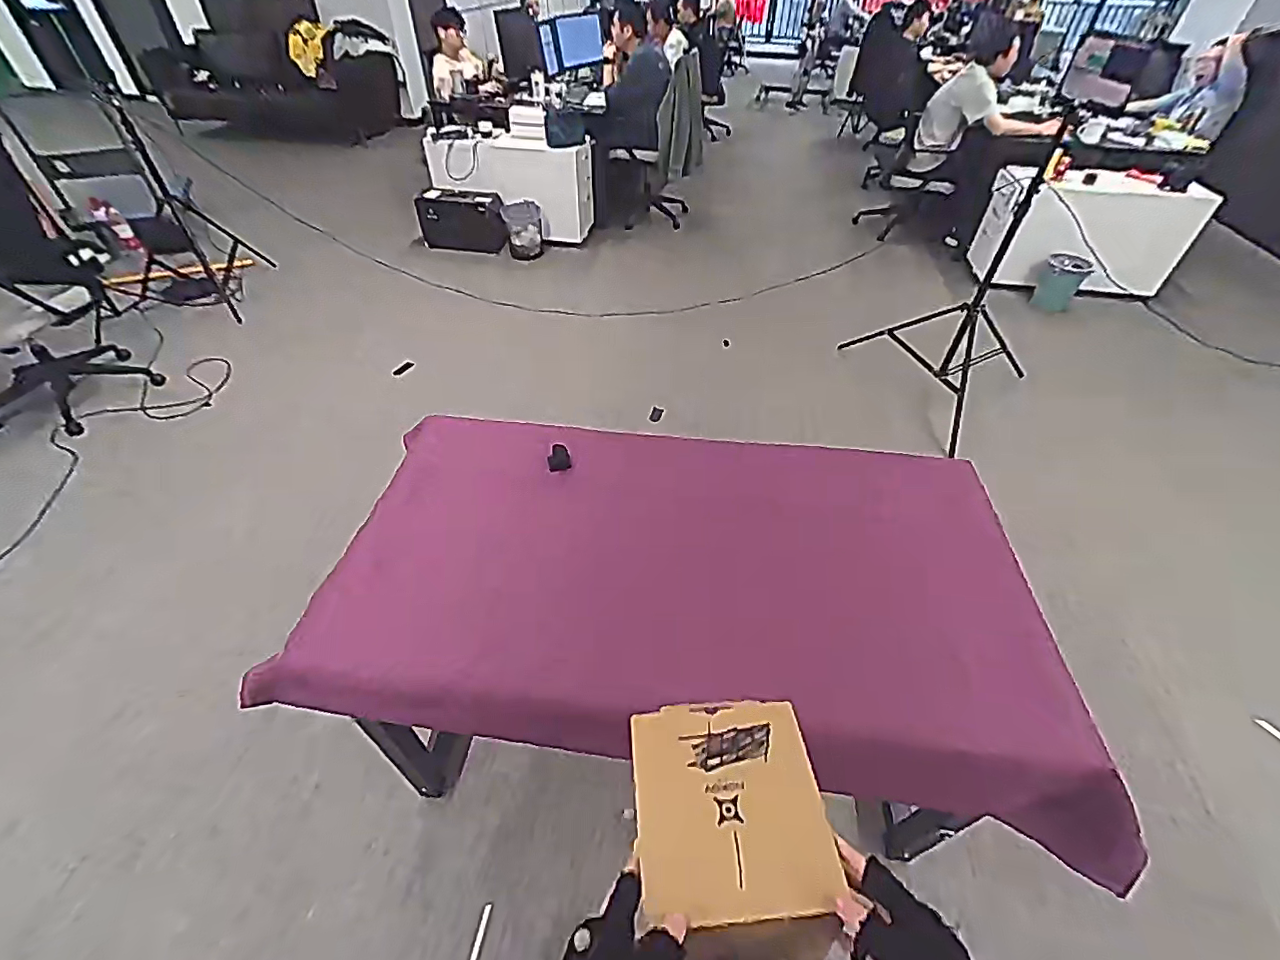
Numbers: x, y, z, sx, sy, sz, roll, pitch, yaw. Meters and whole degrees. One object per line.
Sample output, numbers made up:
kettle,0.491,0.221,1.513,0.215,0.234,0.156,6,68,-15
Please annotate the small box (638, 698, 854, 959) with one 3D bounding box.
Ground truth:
small box,0.084,0.344,0.531,0.168,0.176,0.179,-4,37,-1
